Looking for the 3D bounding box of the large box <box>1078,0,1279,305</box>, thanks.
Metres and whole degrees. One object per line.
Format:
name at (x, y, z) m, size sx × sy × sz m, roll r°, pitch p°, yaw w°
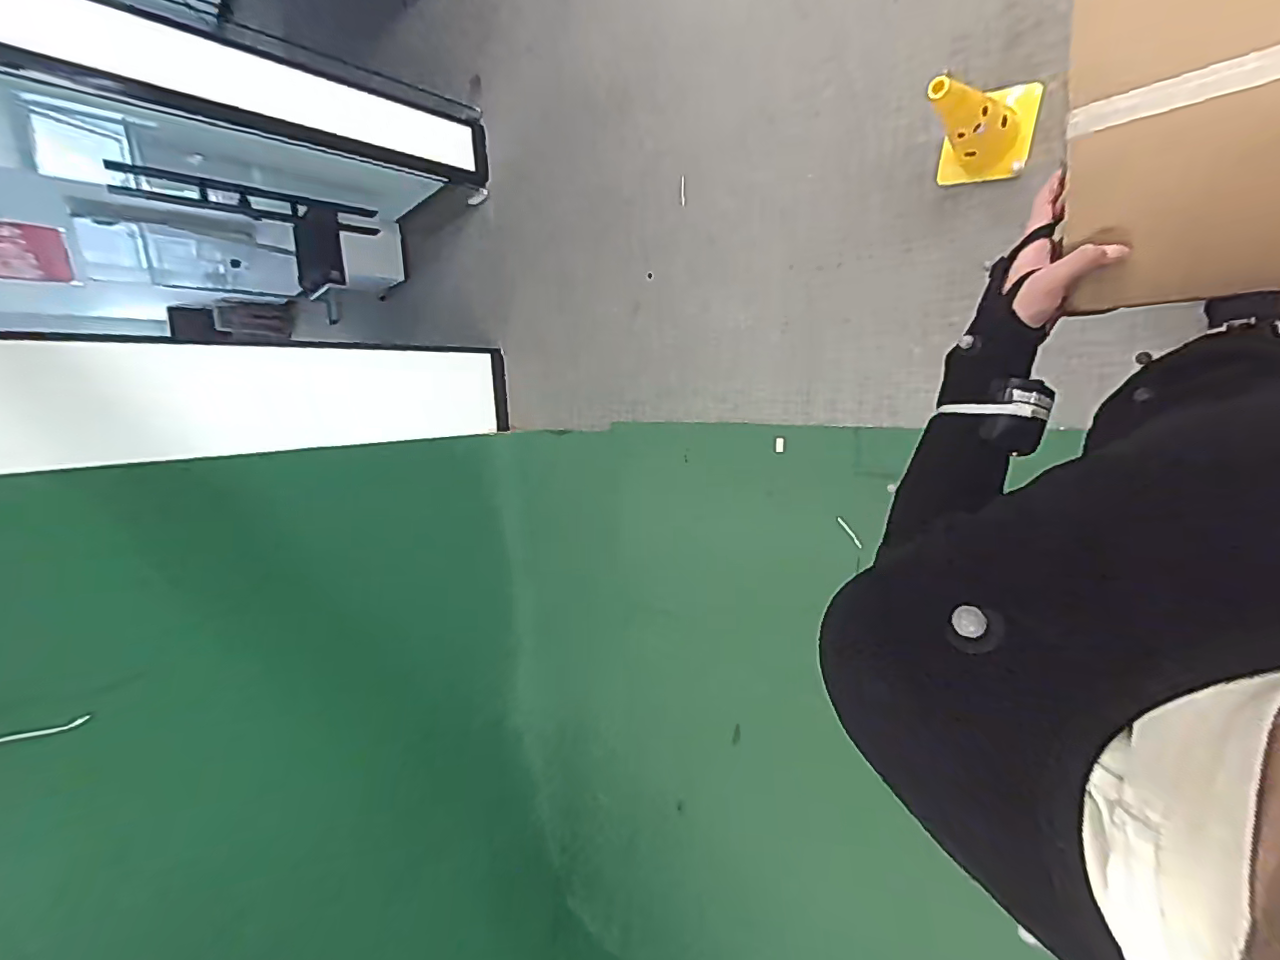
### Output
large box at (0.616, -0.340, 0.413) m, size 0.408 × 0.320 × 0.320 m, roll 7°, pitch 115°, yaw 46°
